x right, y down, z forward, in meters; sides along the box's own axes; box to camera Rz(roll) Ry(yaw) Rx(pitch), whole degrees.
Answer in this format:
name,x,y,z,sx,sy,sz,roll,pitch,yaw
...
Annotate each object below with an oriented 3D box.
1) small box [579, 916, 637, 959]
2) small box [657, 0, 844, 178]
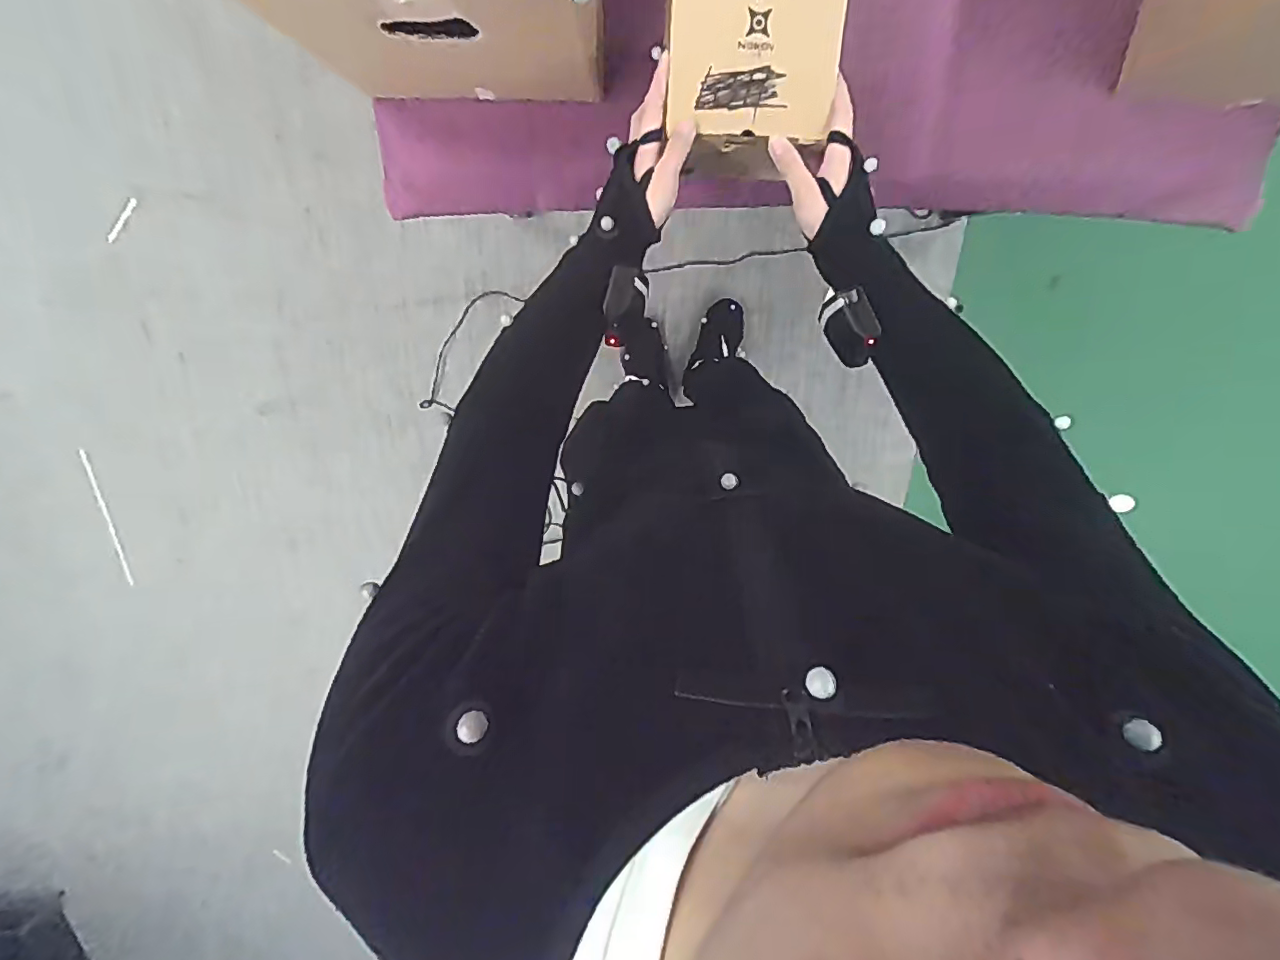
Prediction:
name,x,y,z,sx,sy,sz,roll,pitch,yaw
small box,-0.096,1.495,1.681,0.179,0.176,0.168,-2,111,0
small box,0.106,-0.442,0.585,0.168,0.176,0.179,1,107,-2
